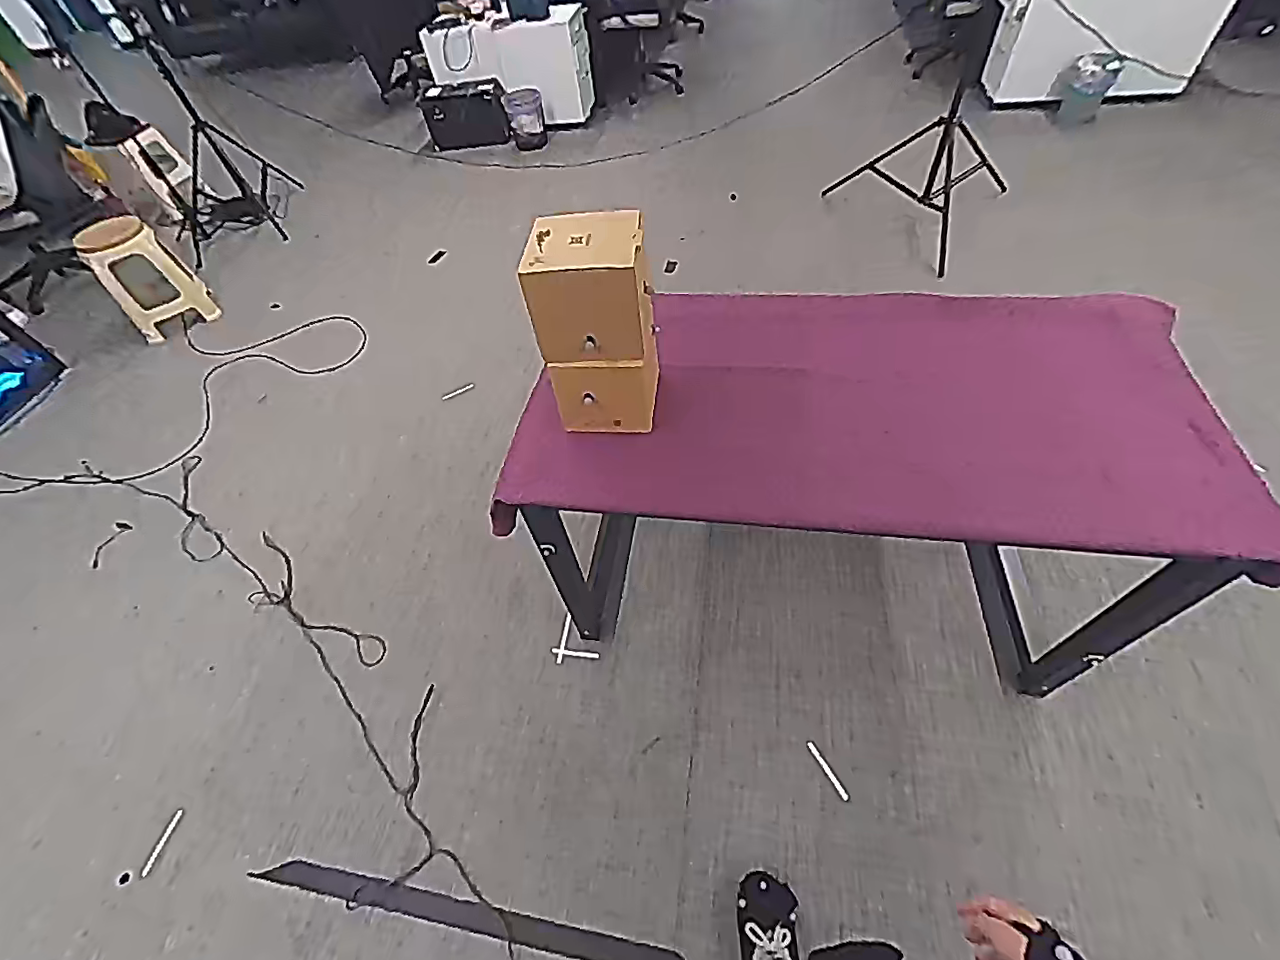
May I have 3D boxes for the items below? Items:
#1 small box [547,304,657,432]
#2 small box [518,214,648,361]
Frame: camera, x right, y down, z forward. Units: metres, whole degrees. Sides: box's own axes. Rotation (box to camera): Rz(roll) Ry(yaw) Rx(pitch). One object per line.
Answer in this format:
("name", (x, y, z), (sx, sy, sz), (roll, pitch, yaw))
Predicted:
("small box", (-0.060, -0.205, 1.009), (0.168, 0.176, 0.179), (1, 52, 8))
("small box", (-0.080, -0.310, 0.885), (0.179, 0.176, 0.168), (0, 52, 6))
